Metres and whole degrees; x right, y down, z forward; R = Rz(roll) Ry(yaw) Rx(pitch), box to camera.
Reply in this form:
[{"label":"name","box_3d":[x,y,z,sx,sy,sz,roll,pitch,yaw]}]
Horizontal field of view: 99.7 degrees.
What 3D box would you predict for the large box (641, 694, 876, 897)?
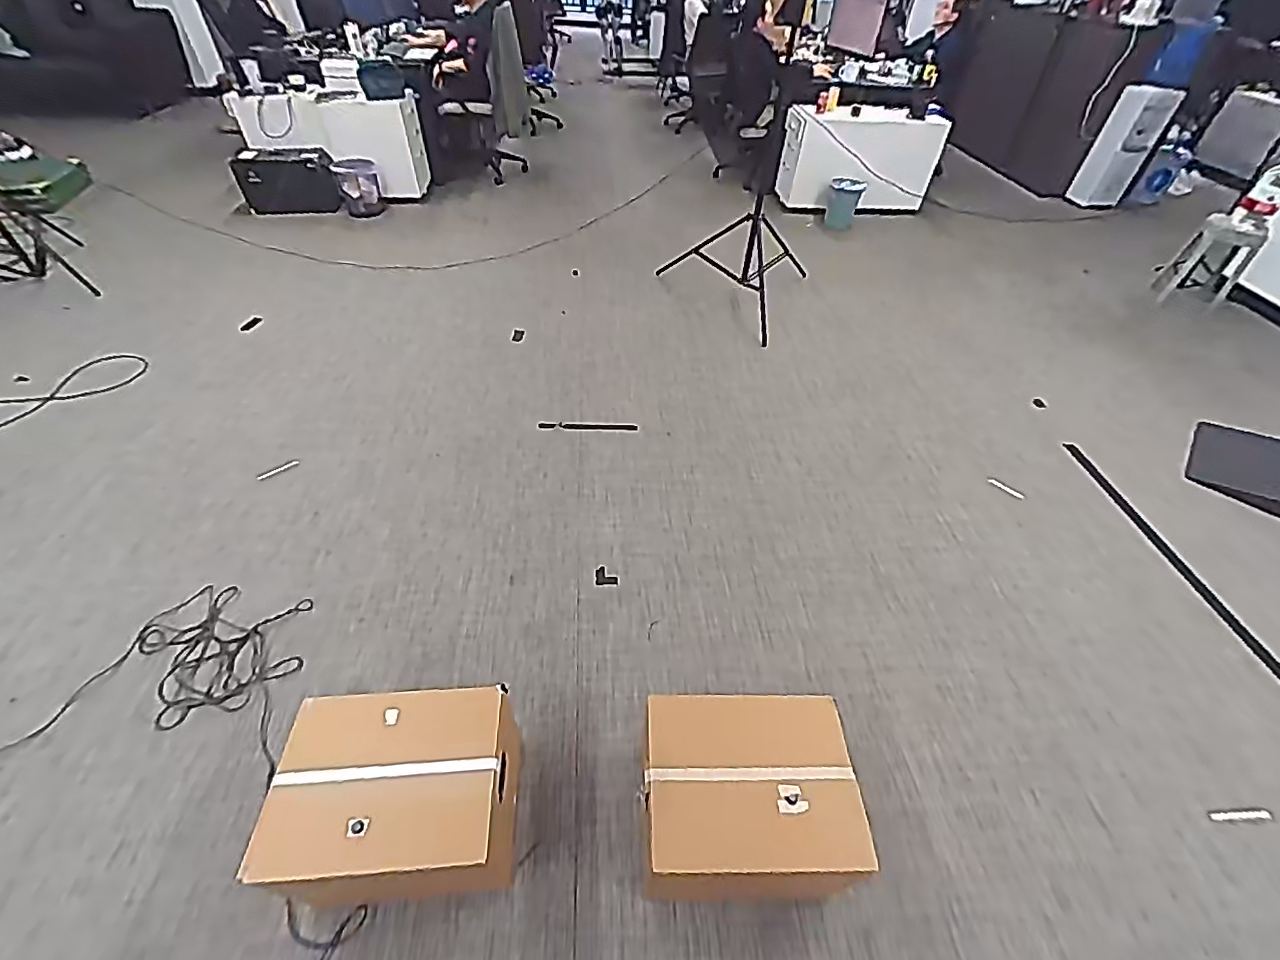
[{"label":"large box","box_3d":[0.213,0.677,1.162,0.408,0.320,0.320,2,46,-3]}]
